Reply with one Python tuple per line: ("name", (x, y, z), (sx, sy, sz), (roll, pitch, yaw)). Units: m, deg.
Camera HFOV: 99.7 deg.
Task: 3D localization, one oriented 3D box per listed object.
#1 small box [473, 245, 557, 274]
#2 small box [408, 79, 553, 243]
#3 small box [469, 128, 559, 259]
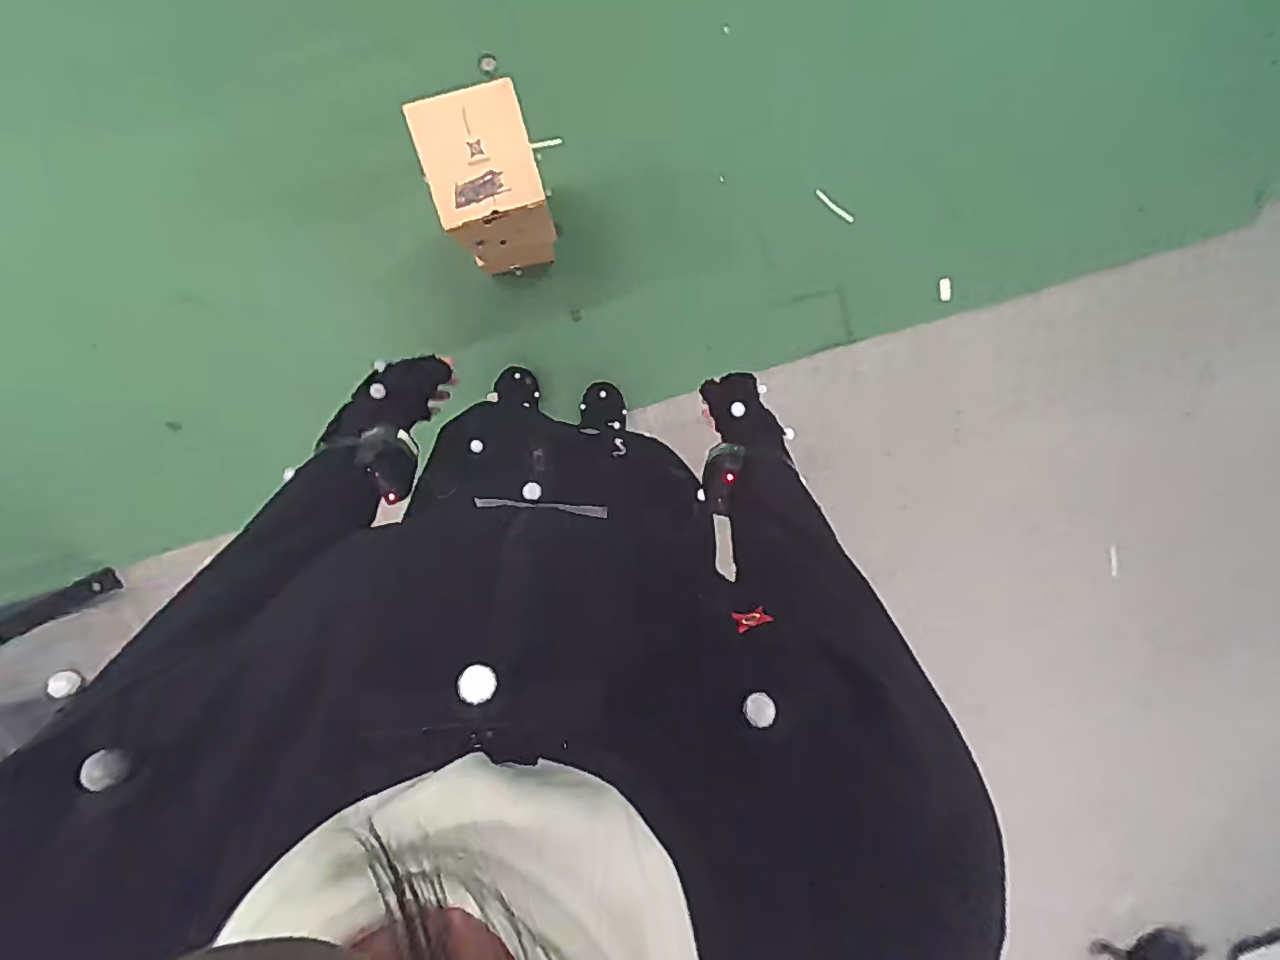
("small box", (-0.284, -0.568, 1.185), (0.168, 0.176, 0.179), (-13, 105, -1))
("small box", (-0.246, -0.503, 0.885), (0.168, 0.176, 0.179), (-16, 104, -2))
("small box", (-0.261, -0.543, 1.044), (0.168, 0.176, 0.179), (-16, 104, -2))
